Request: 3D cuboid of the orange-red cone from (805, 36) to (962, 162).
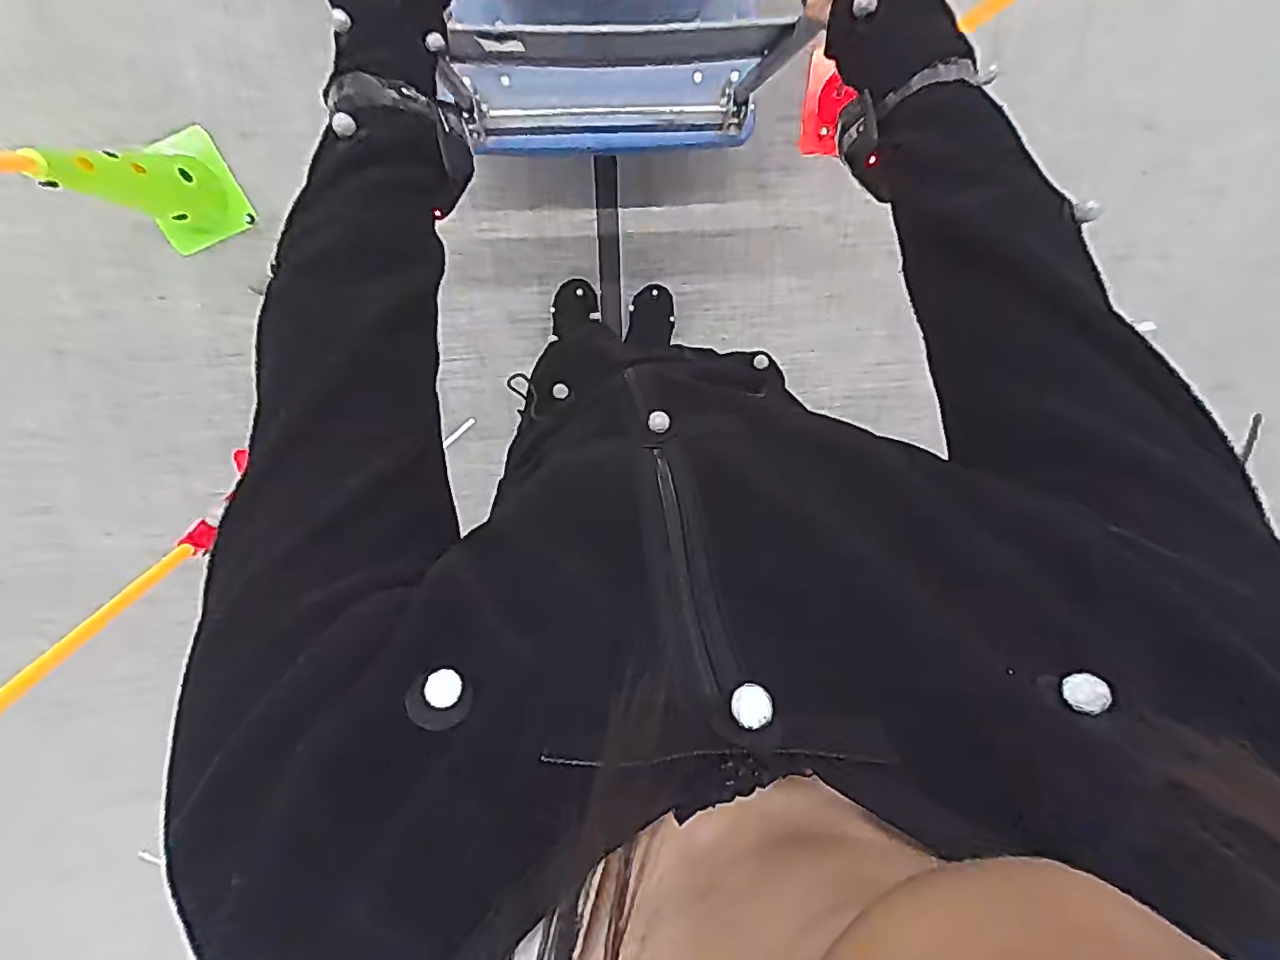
[{"bbox_3d":[0.486,-0.756,1.028,0.199,0.360,0.198,2,111,-6],"label":"orange-red cone"}]
